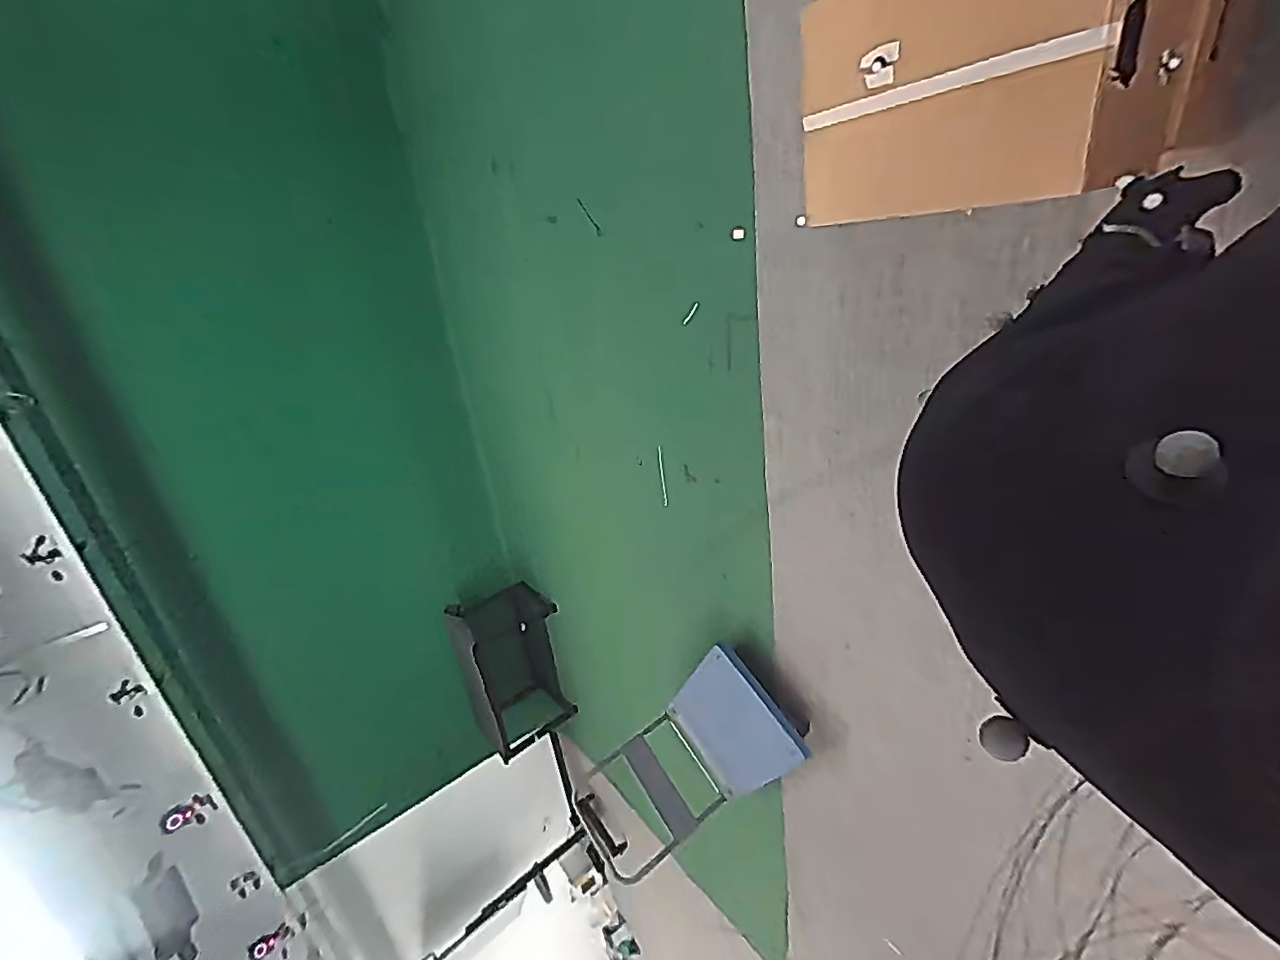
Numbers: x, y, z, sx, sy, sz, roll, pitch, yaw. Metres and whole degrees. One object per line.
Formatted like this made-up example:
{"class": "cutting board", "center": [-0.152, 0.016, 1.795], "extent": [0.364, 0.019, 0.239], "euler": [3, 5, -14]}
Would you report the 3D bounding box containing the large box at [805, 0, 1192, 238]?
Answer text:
{"class": "large box", "center": [0.516, -0.574, 0.826], "extent": [0.408, 0.320, 0.320], "euler": [24, 129, 50]}
